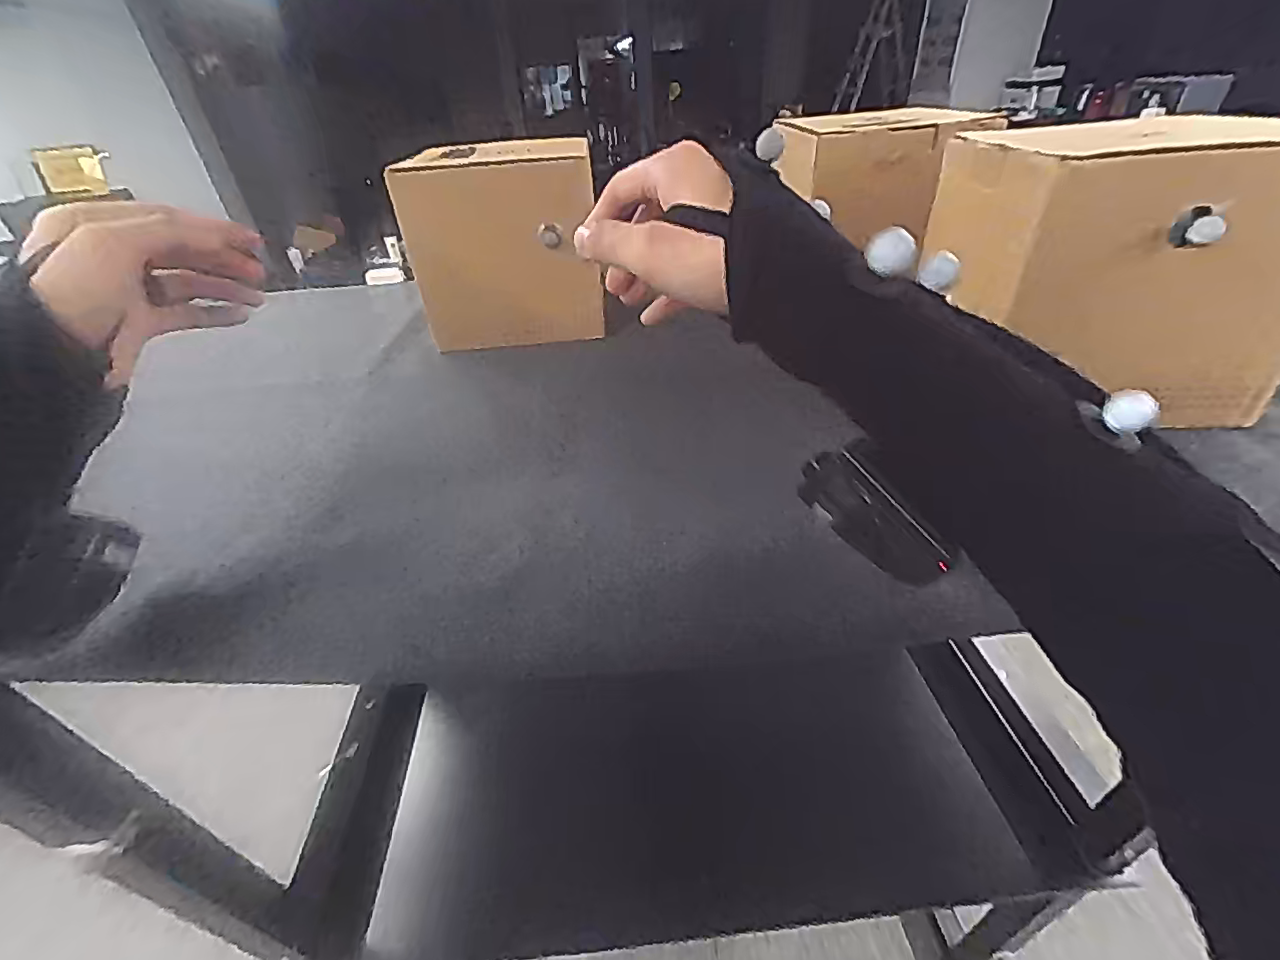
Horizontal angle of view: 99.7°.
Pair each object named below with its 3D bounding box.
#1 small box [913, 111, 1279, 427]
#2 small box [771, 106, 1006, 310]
[{"bbox_3d":[0.319,-0.147,0.378,0.179,0.176,0.168,0,35,8],"label":"small box"},{"bbox_3d":[0.242,-0.288,0.581,0.168,0.176,0.179,-4,36,1],"label":"small box"}]
